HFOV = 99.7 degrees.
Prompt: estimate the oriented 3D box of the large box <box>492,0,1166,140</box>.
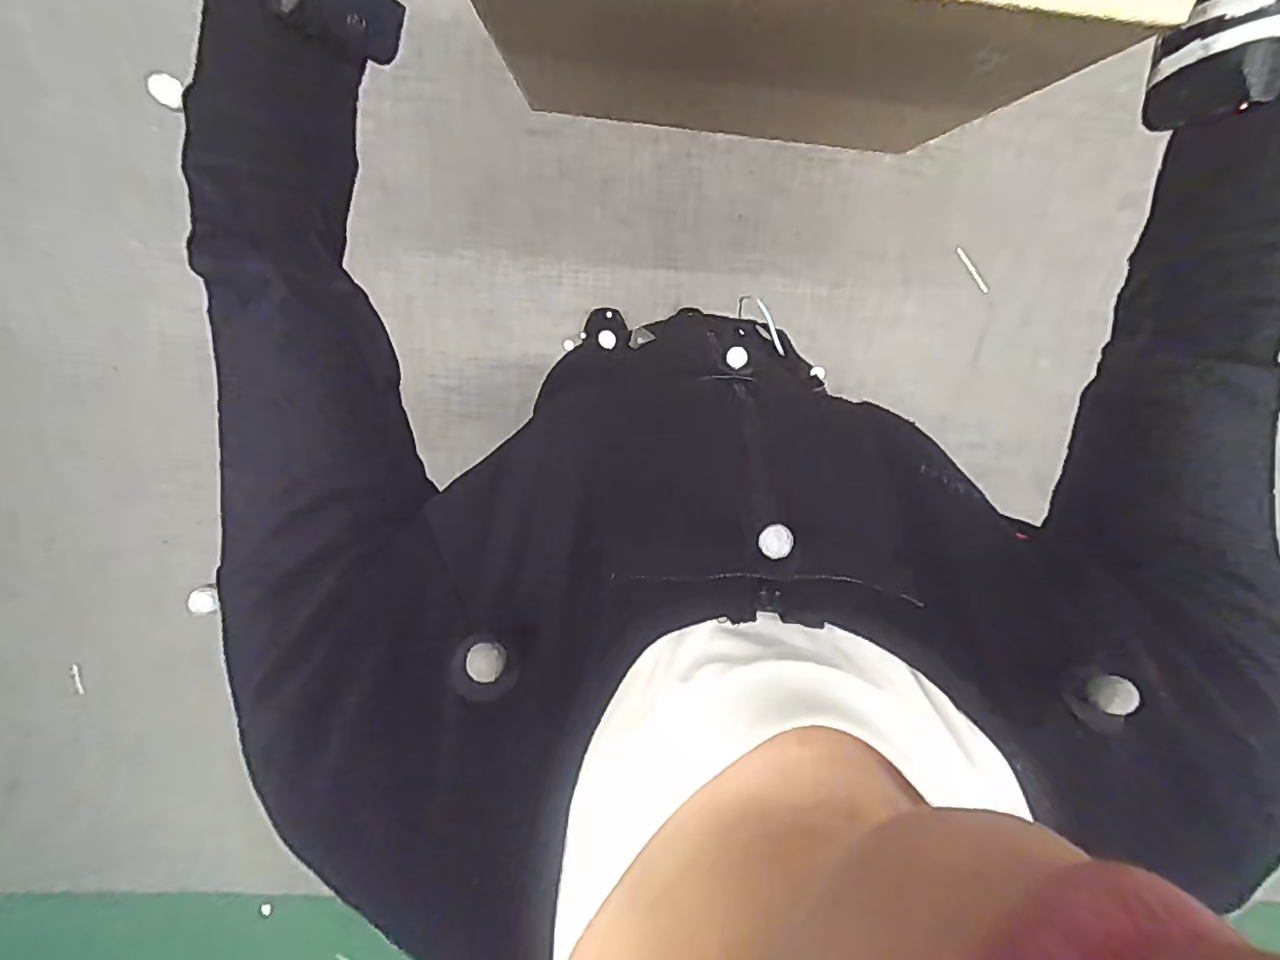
[{"bbox_3d":[0.103,-0.466,0.379,0.408,0.320,0.320,4,110,-4],"label":"large box"}]
